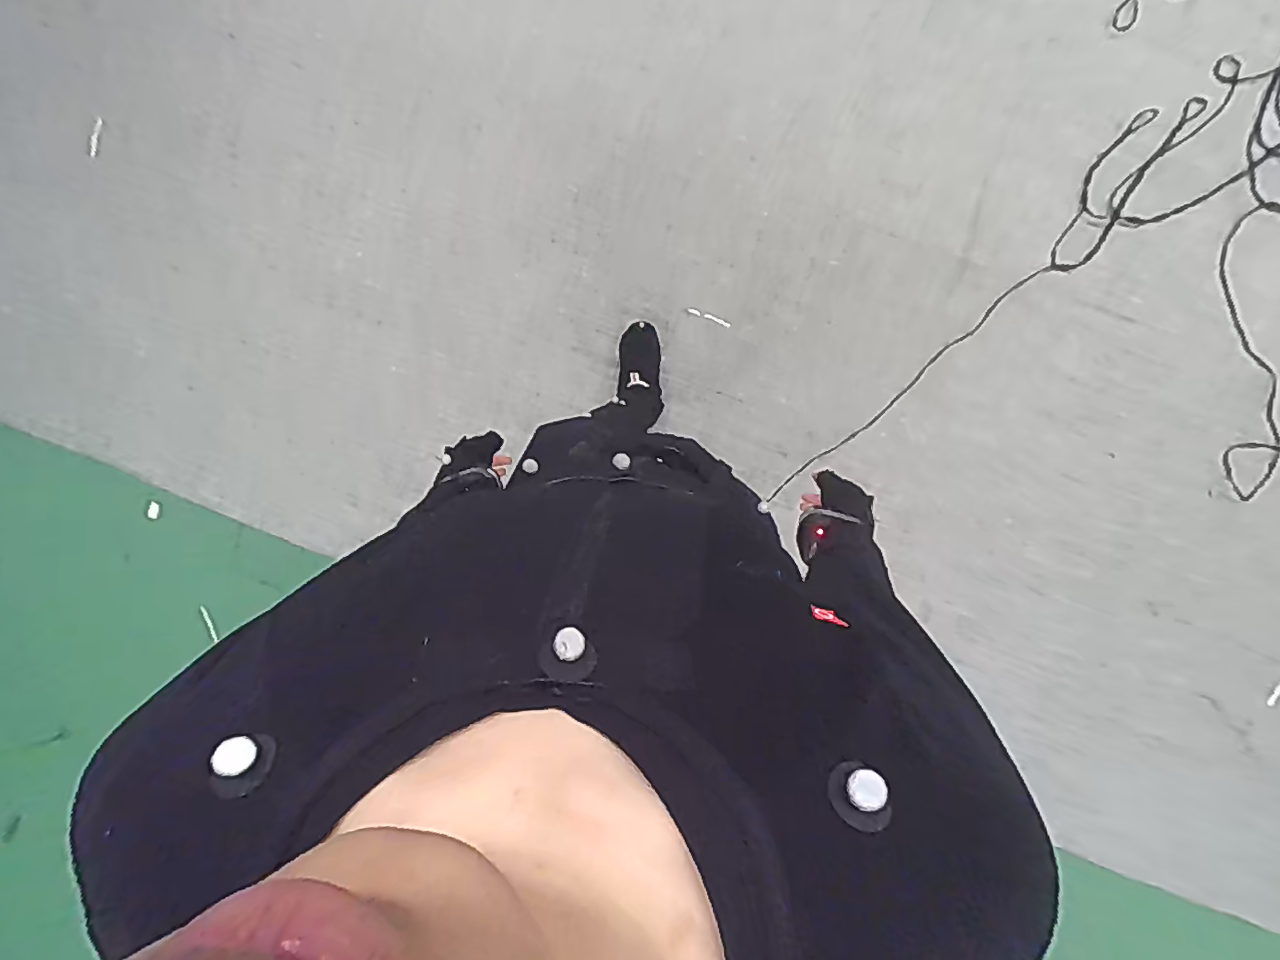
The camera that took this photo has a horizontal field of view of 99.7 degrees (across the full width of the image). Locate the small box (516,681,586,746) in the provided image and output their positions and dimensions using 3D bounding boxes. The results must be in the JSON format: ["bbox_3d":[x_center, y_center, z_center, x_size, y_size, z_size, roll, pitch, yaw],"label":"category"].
[{"bbox_3d":[-0.255,0.683,1.457,0.168,0.176,0.179,22,98,0],"label":"small box"}]
